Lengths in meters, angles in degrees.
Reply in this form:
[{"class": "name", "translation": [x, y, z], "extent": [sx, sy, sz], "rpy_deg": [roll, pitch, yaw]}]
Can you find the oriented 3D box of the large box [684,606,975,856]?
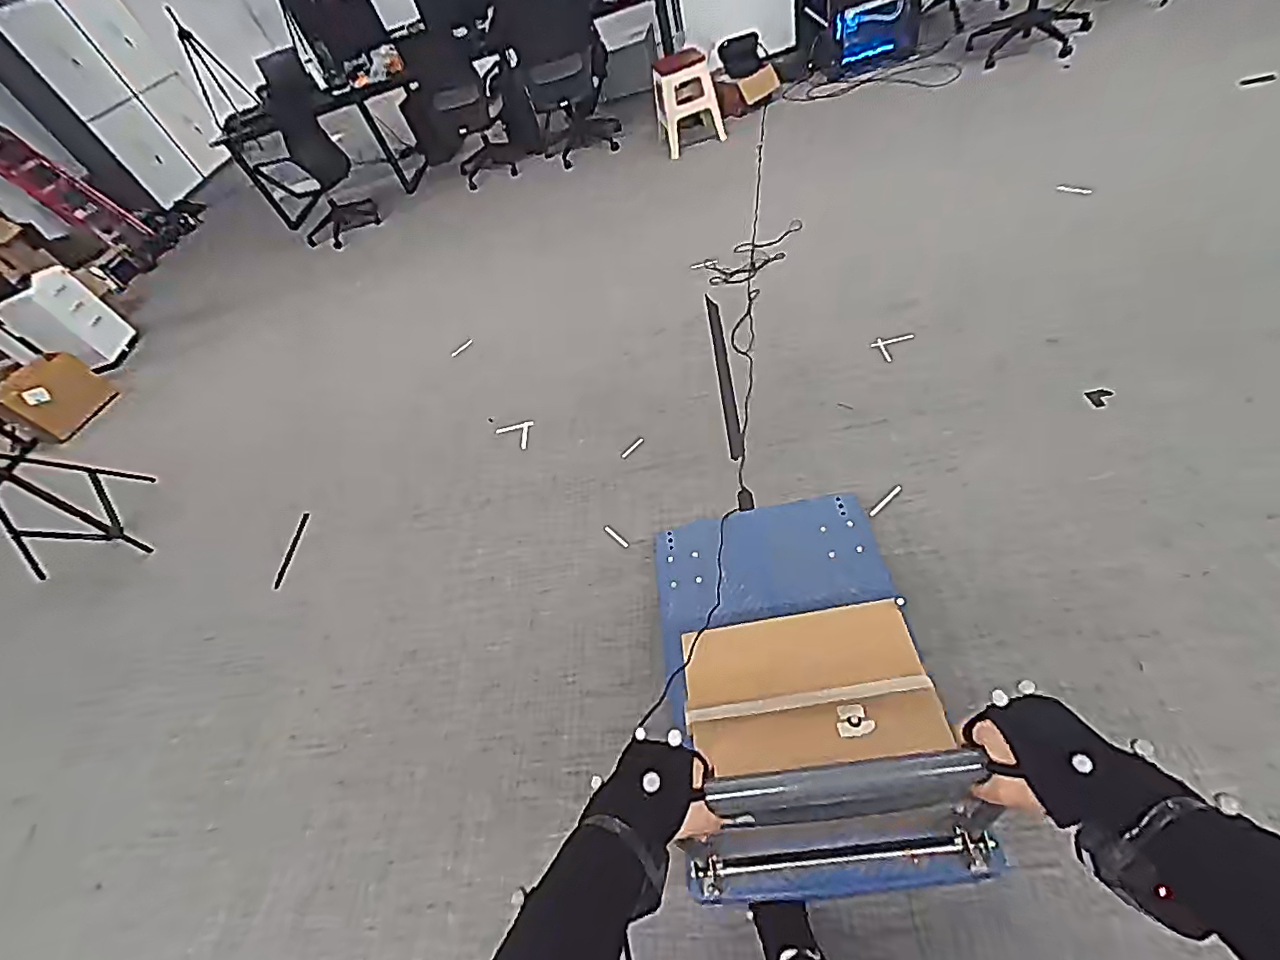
[{"class": "large box", "translation": [0.319, 0.477, 1.010], "extent": [0.408, 0.320, 0.320], "rpy_deg": [-12, 48, 8]}]
